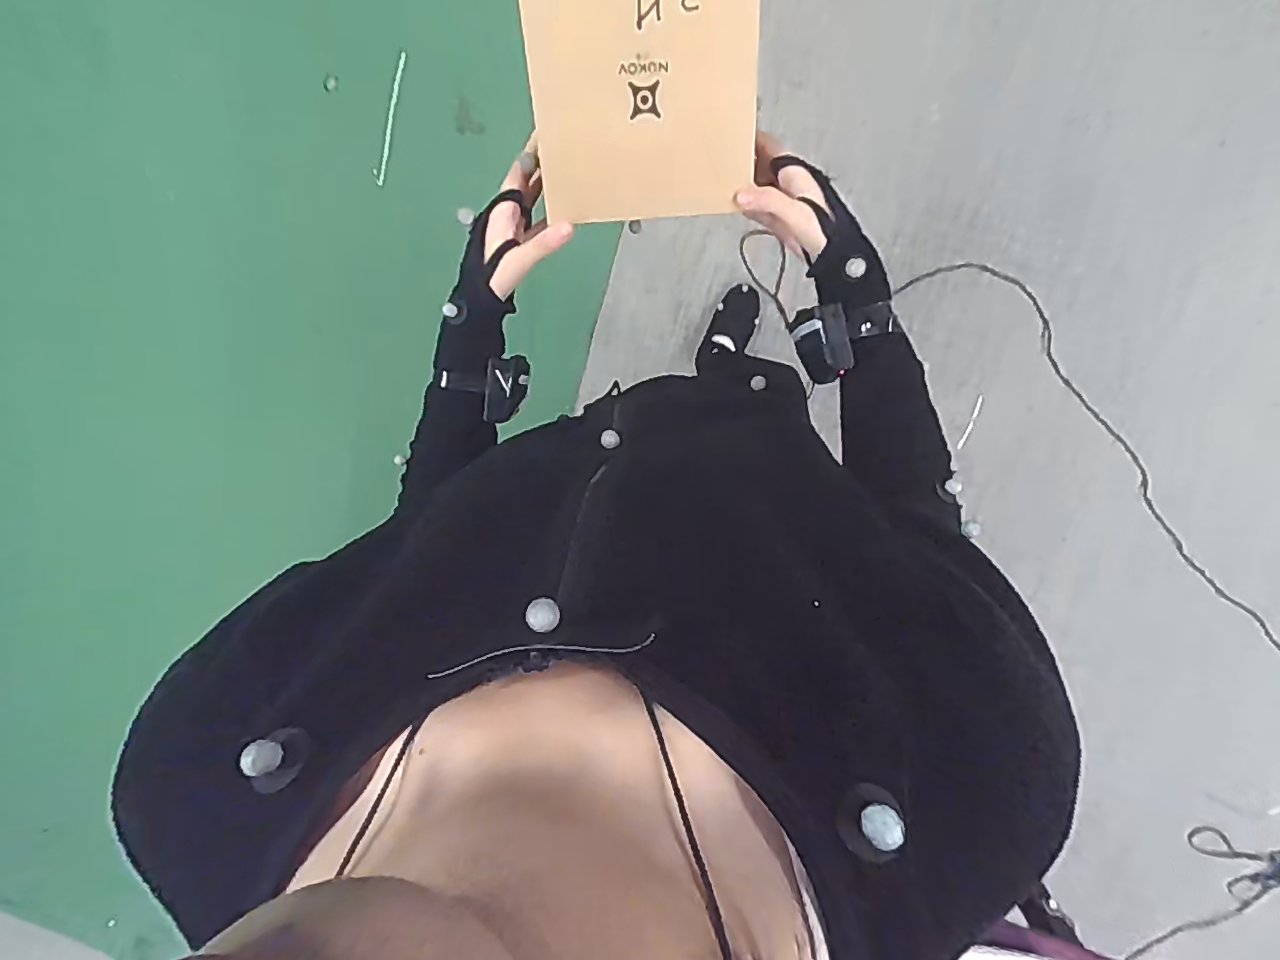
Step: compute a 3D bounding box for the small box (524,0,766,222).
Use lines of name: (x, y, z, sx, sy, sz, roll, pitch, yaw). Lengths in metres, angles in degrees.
small box: (-0.002, -0.322, 0.454, 0.168, 0.176, 0.179, -6, 118, -5)
